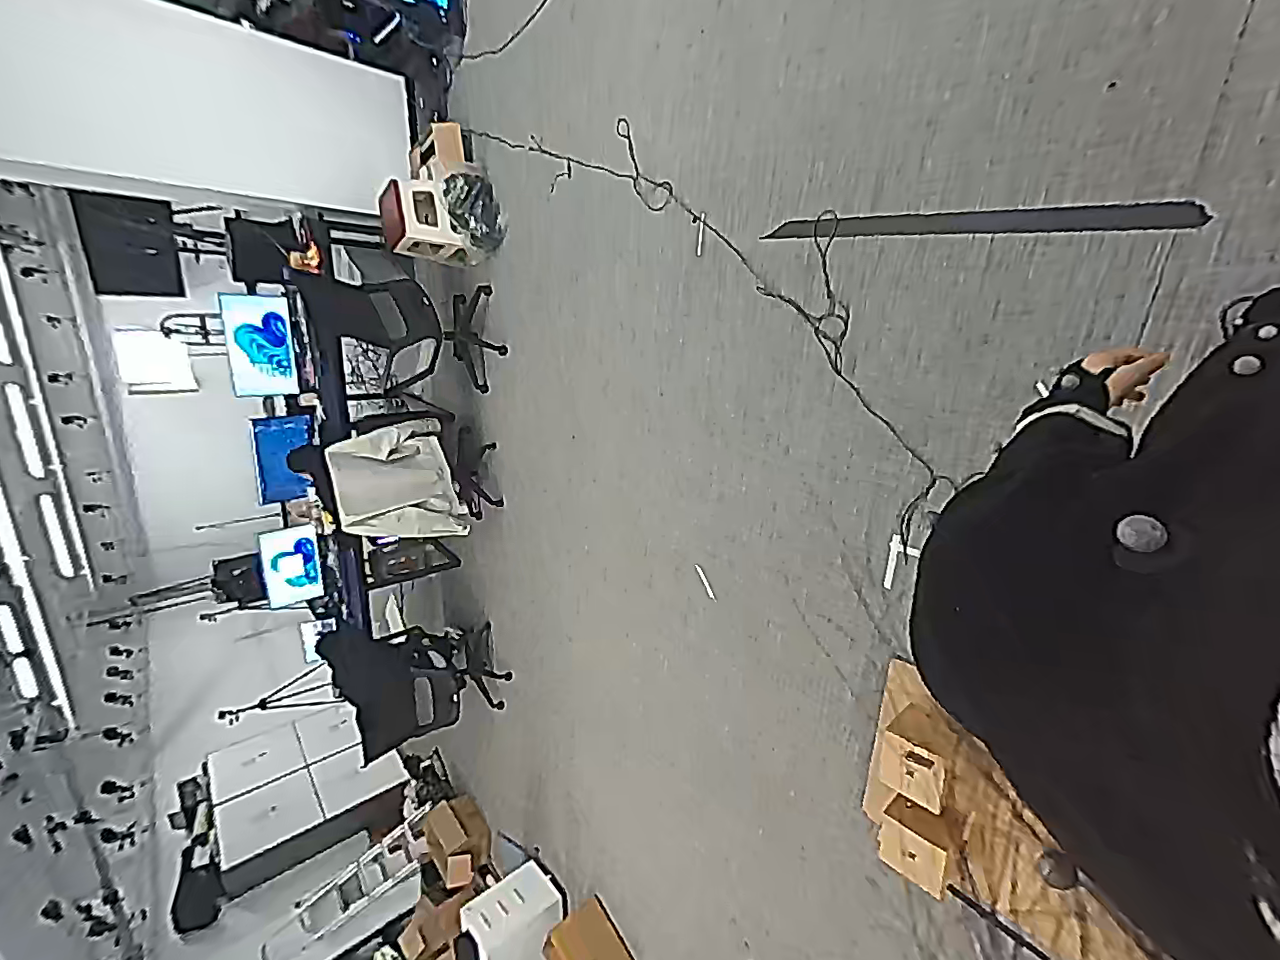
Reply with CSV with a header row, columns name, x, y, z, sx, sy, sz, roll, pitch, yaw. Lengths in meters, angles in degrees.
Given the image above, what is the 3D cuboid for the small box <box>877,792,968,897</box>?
name,x,y,z,sx,sy,sz,roll,pitch,yaw
small box,0.812,1.027,1.558,0.179,0.176,0.168,13,110,47

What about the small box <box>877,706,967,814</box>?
name,x,y,z,sx,sy,sz,roll,pitch,yaw
small box,0.791,0.771,1.513,0.168,0.176,0.179,15,111,47
